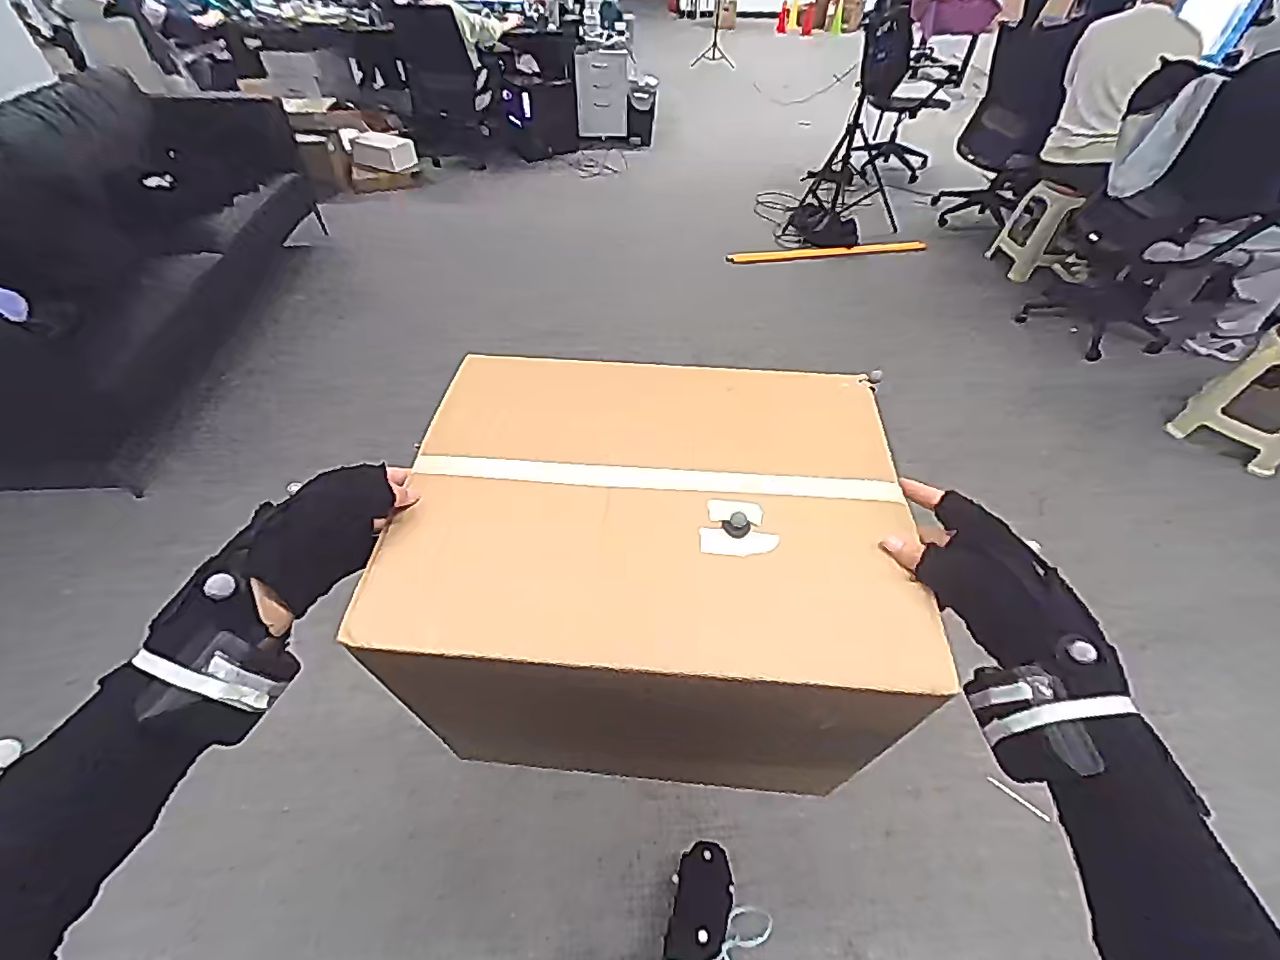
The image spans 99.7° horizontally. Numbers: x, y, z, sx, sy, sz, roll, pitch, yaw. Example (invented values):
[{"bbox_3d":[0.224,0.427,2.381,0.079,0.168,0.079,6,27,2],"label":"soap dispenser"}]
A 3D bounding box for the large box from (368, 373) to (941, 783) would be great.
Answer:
[{"bbox_3d":[0.014,0.107,0.576,0.408,0.320,0.320,3,50,3],"label":"large box"}]
